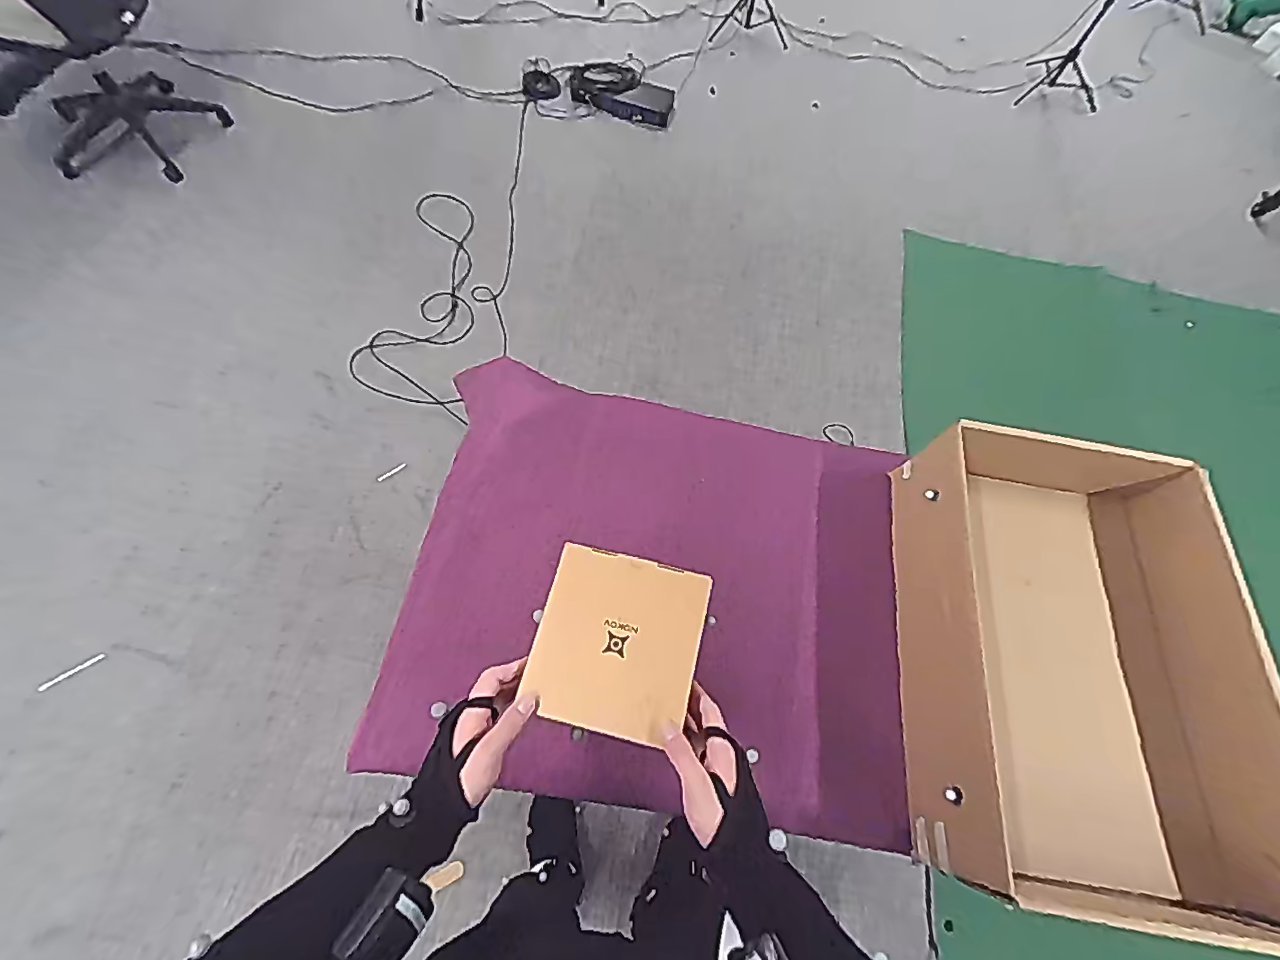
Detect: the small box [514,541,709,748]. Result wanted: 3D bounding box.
[{"bbox_3d":[-0.024,0.194,0.621,0.168,0.176,0.179,12,64,6],"label":"small box"}]
